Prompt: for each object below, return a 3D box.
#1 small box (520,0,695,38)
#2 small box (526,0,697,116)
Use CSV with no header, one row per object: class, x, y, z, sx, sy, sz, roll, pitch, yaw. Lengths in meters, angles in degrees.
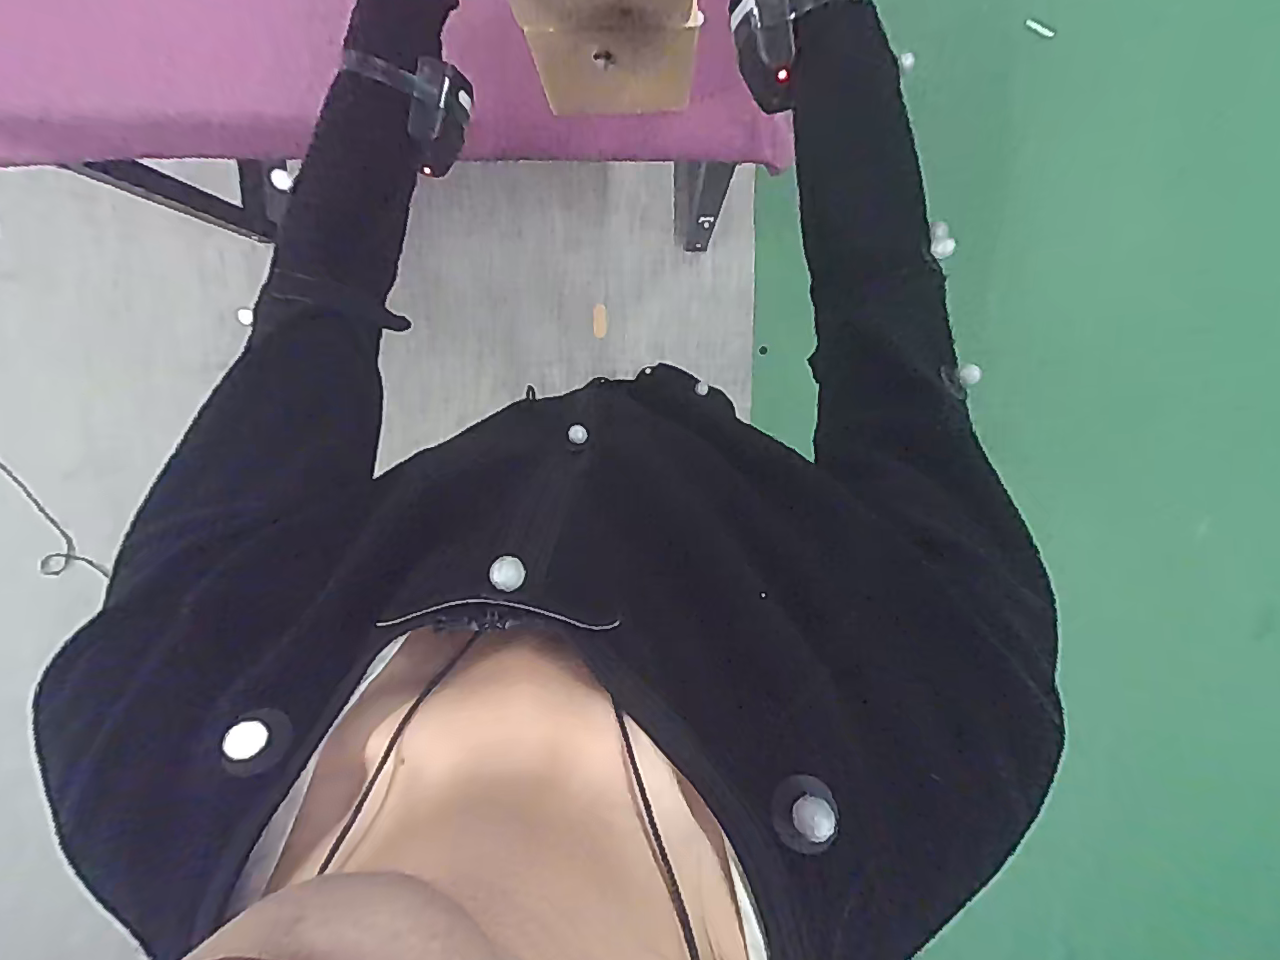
small box,-0.033,-0.498,0.424,0.168,0.176,0.179,0,100,1
small box,-0.027,-0.543,0.614,0.179,0.176,0.168,-1,99,1
